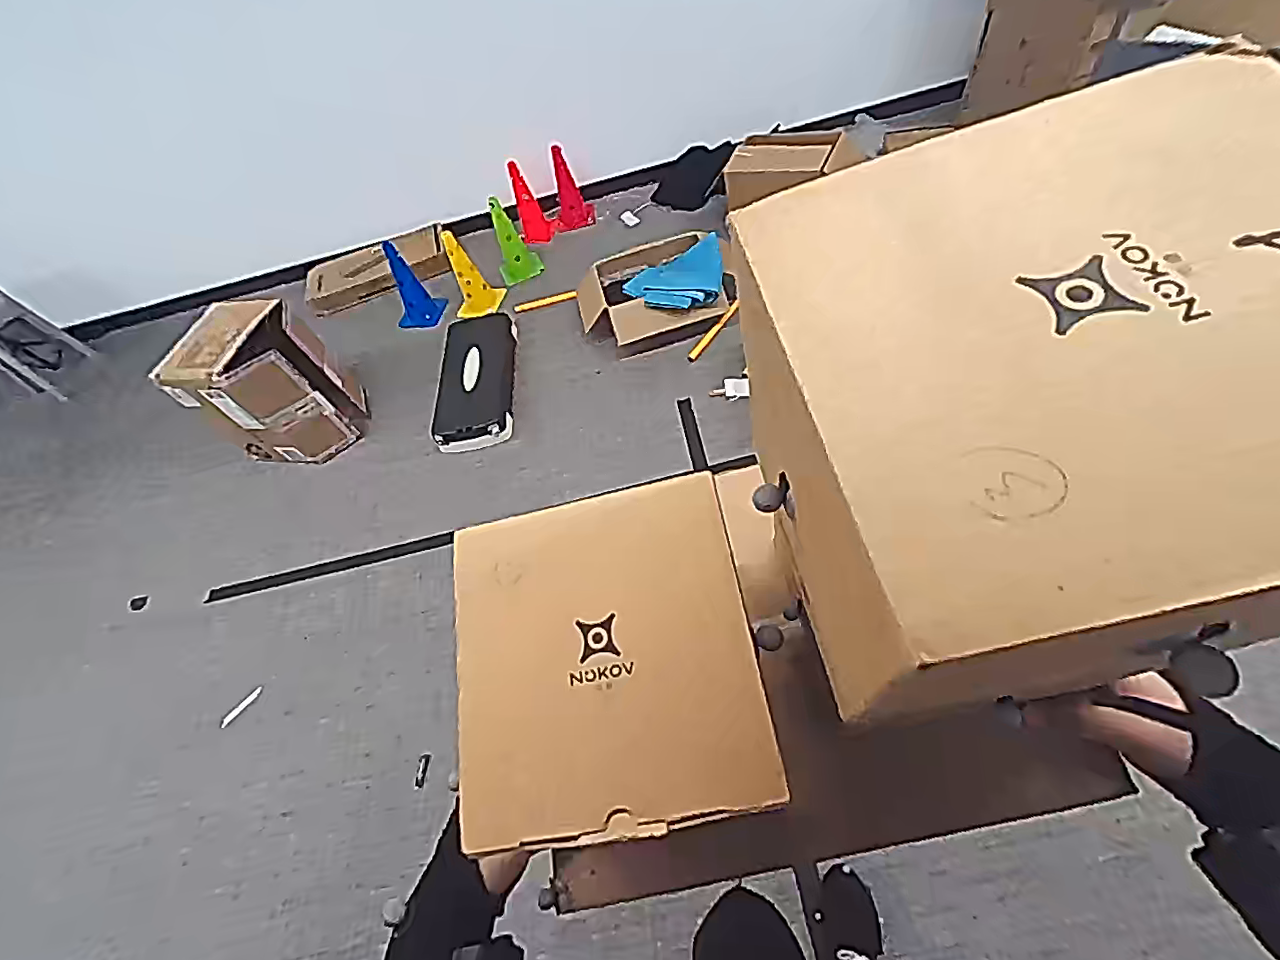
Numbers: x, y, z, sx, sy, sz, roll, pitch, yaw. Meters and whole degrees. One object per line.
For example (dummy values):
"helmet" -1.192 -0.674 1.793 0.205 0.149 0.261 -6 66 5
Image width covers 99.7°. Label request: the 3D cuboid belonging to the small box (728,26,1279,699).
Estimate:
"small box" 0.146 -0.021 0.215 0.179 0.176 0.168 -15 60 7
